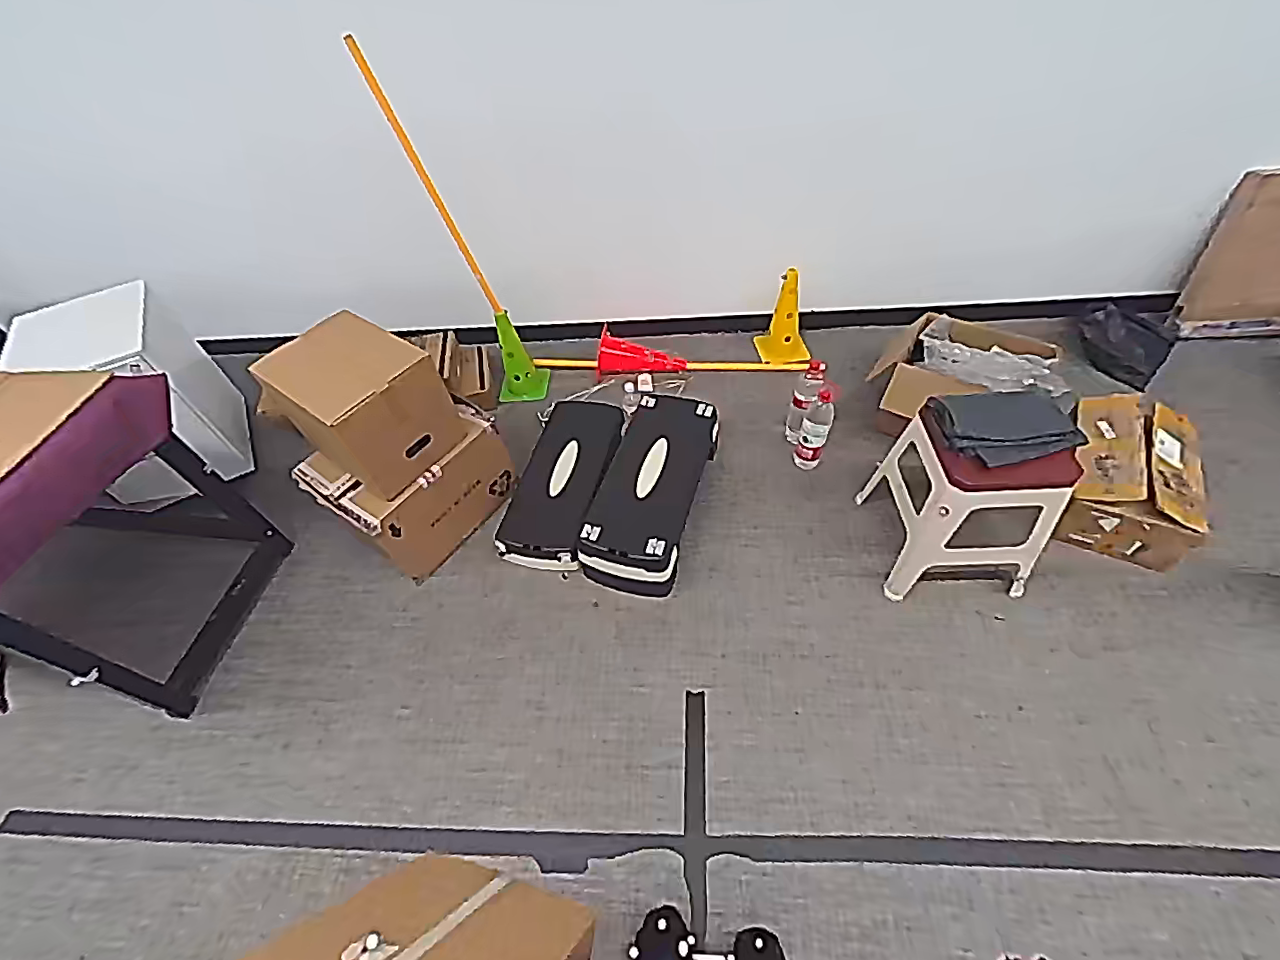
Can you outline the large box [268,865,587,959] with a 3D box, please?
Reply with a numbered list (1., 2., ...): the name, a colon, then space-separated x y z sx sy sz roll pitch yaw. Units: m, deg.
1. large box: -0.297 0.754 0.651 0.320 0.408 0.320 5 75 17
